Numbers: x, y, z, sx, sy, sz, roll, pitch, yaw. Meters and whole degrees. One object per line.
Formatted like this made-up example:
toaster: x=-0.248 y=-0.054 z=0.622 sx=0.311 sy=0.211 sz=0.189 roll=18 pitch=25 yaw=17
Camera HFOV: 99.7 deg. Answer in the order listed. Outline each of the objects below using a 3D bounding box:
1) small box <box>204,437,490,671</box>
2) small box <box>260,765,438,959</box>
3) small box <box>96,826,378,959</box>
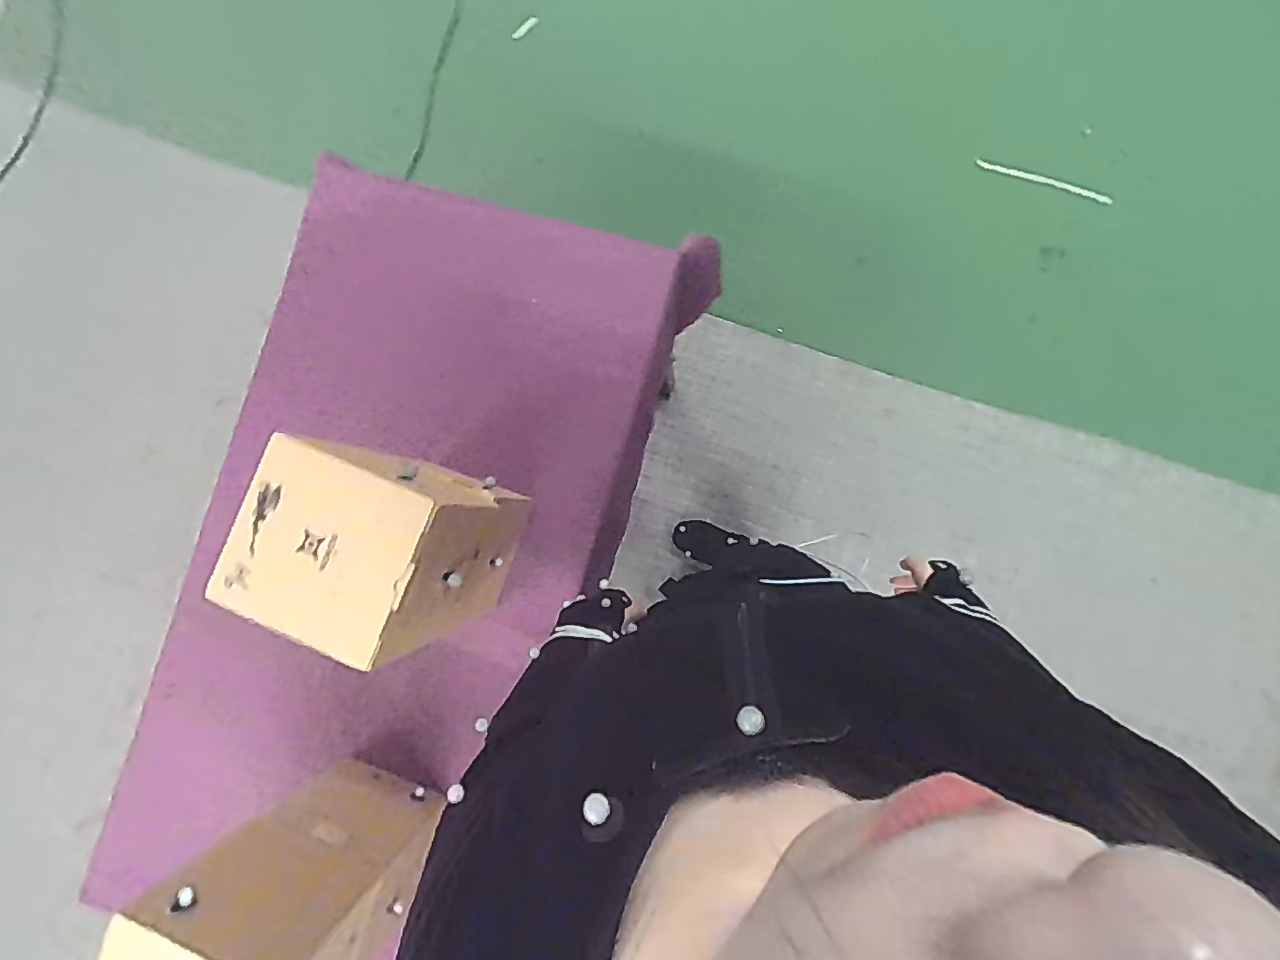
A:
small box: x=-0.284 y=0.069 z=0.569 sx=0.179 sy=0.176 sz=0.168 roll=22 pitch=88 yaw=5
small box: x=-0.391 y=0.512 z=0.709 sx=0.168 sy=0.176 sz=0.179 roll=17 pitch=88 yaw=6
small box: x=-0.406 y=0.496 z=0.547 sx=0.179 sy=0.176 sz=0.168 roll=19 pitch=87 yaw=7
